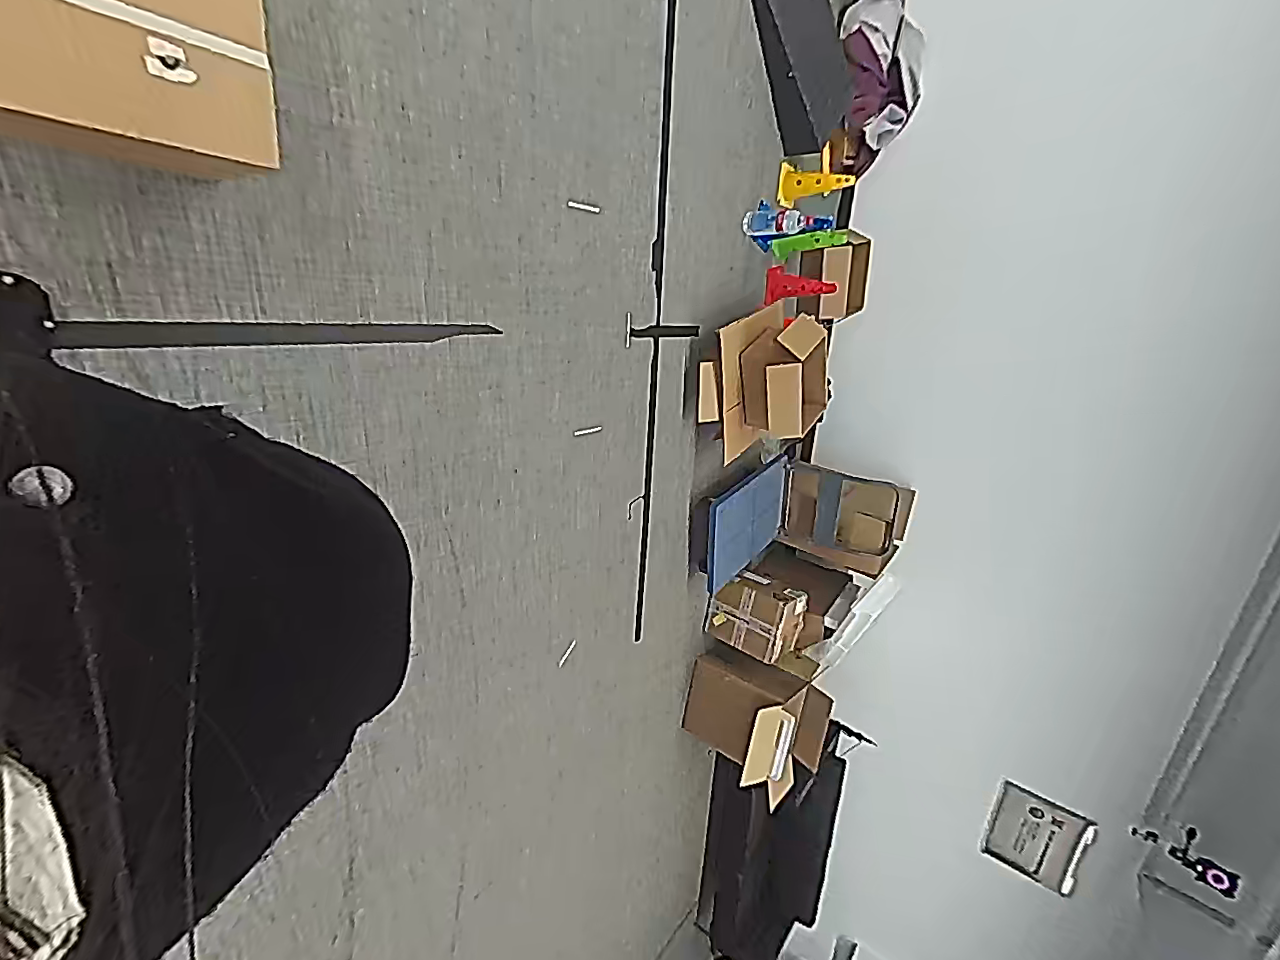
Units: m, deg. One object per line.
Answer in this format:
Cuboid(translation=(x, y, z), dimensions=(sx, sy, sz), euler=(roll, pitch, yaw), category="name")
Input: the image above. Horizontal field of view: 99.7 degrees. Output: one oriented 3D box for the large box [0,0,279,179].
Cuboid(translation=(-0.855, -0.687, 0.827), dimensions=(0.408, 0.320, 0.320), euler=(-17, 118, -51), category="large box")
